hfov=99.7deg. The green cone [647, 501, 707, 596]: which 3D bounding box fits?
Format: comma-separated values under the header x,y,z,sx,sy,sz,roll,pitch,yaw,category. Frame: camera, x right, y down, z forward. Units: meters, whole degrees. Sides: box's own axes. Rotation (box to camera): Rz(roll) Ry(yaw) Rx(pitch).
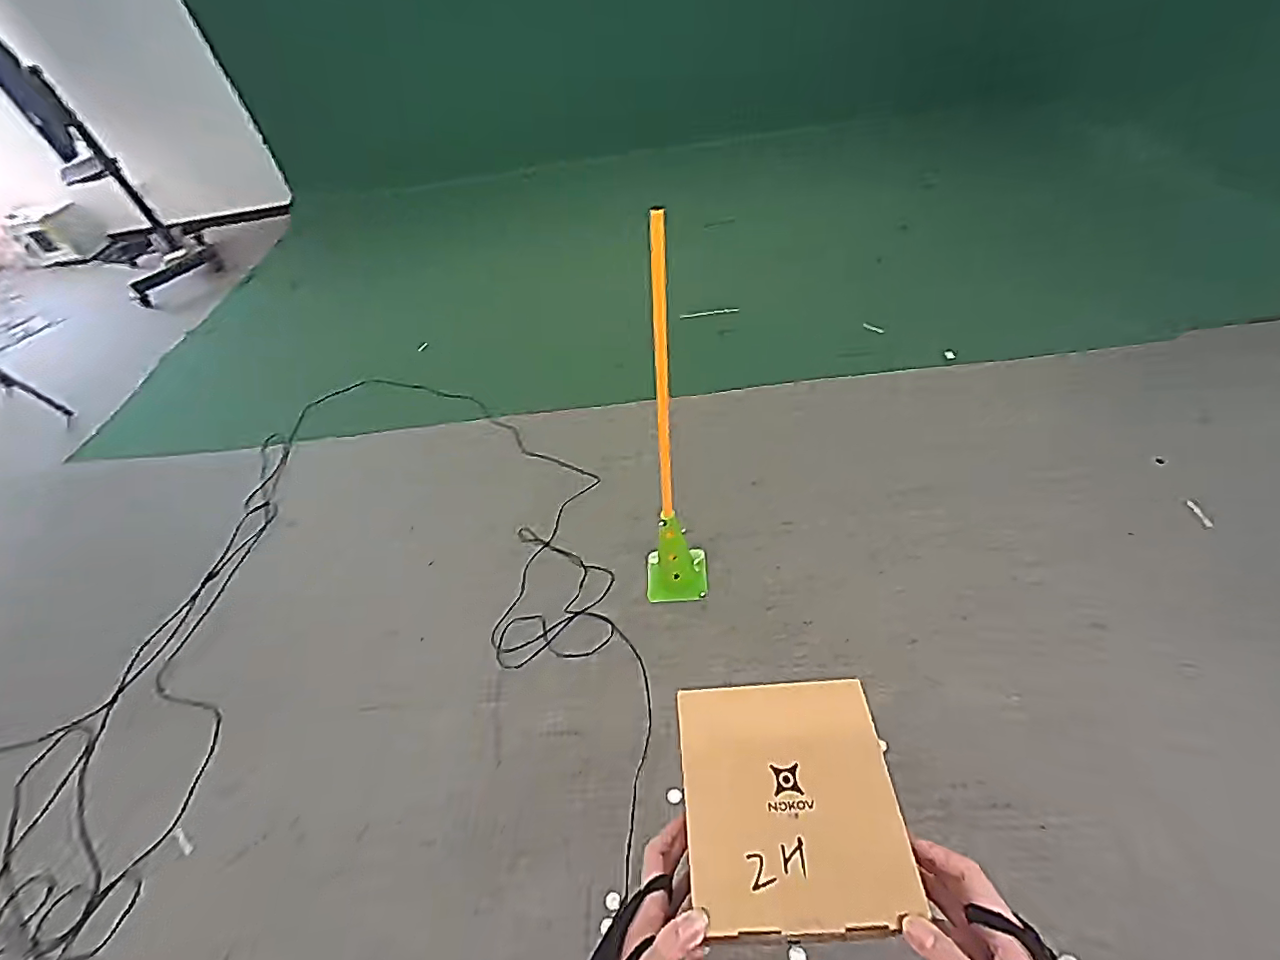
x,y,z,sx,sy,sz,roll,pitch,yaw,category
0.099,0.190,1.721,0.202,0.368,0.200,-6,48,7,green cone
